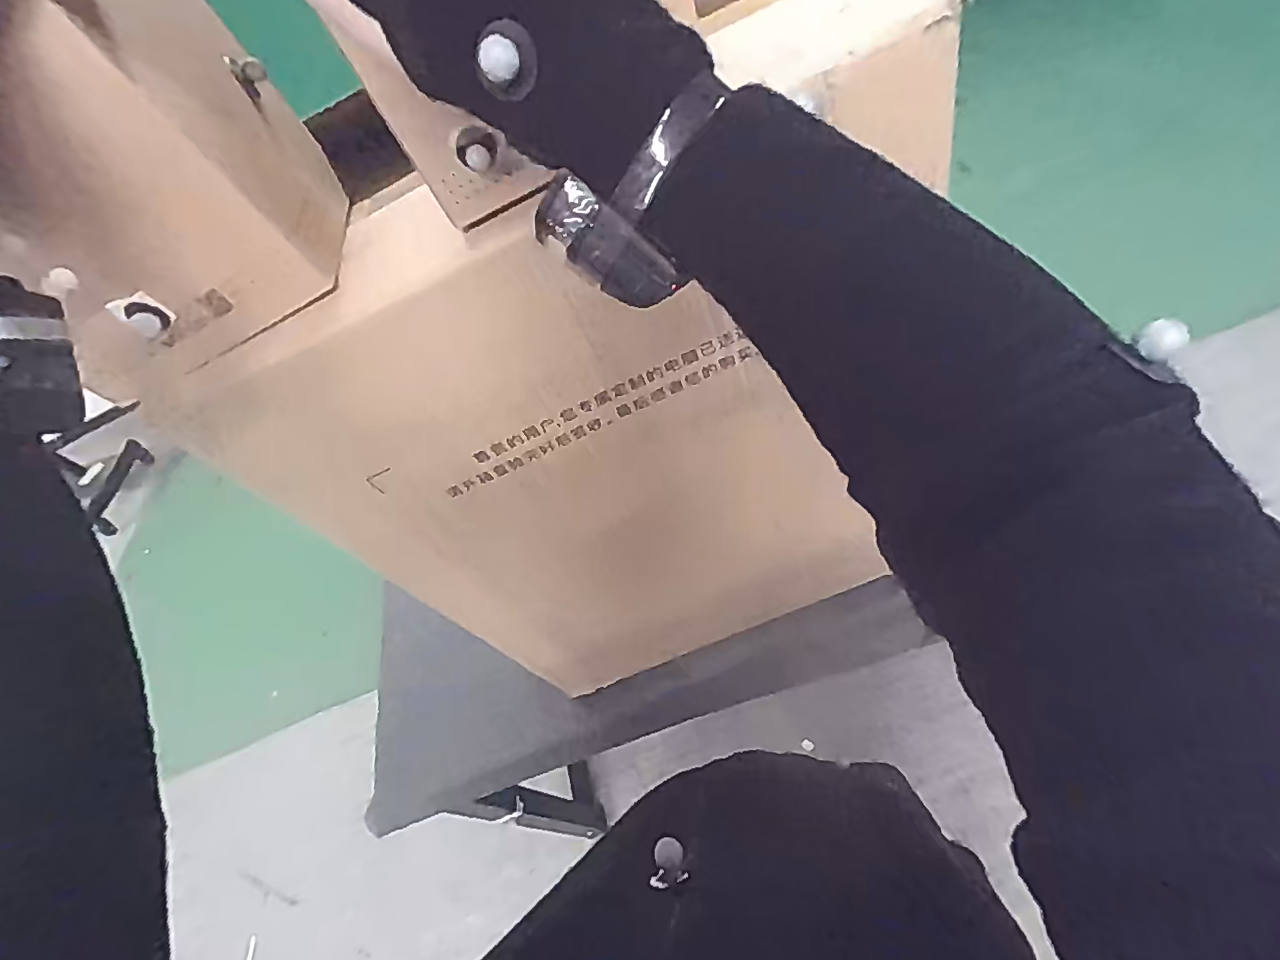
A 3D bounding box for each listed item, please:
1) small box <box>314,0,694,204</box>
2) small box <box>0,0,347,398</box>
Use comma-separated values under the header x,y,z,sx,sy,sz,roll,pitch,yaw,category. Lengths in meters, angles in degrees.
x,y,z,sx,sy,sz,roll,pitch,yaw,category
-0.086,-0.289,0.305,0.168,0.176,0.179,-26,48,3,small box
-0.309,-0.184,0.331,0.168,0.176,0.179,-28,51,5,small box
